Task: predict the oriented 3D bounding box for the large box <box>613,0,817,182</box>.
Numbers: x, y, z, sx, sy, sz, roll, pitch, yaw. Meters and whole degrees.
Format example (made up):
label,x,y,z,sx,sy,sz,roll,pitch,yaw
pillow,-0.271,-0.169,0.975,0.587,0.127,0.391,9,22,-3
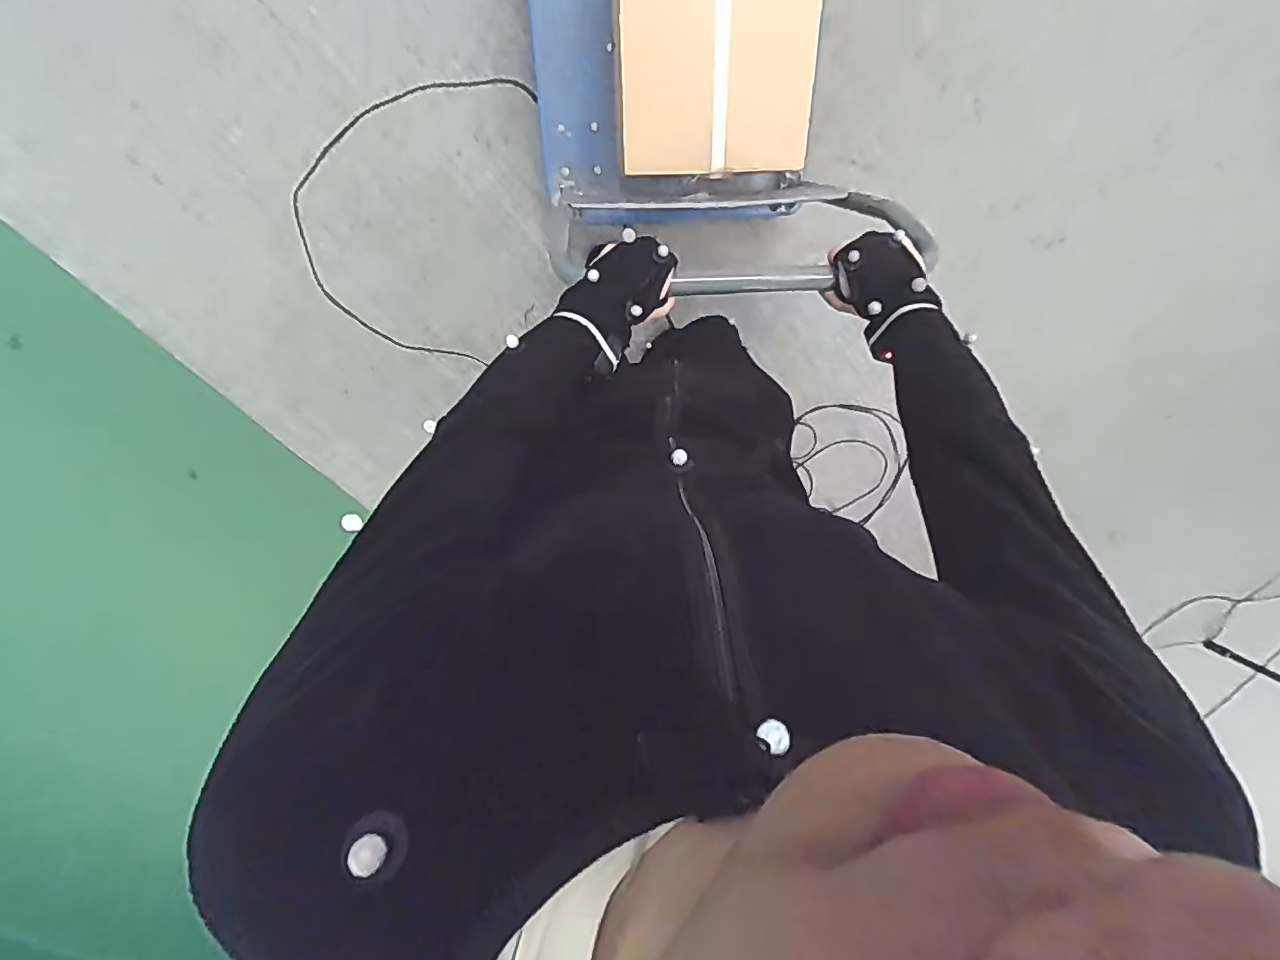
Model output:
label,x,y,z,sx,sy,sz,roll,pitch,yaw
large box,0.112,-0.773,0.967,0.320,0.320,0.408,-4,118,-3
